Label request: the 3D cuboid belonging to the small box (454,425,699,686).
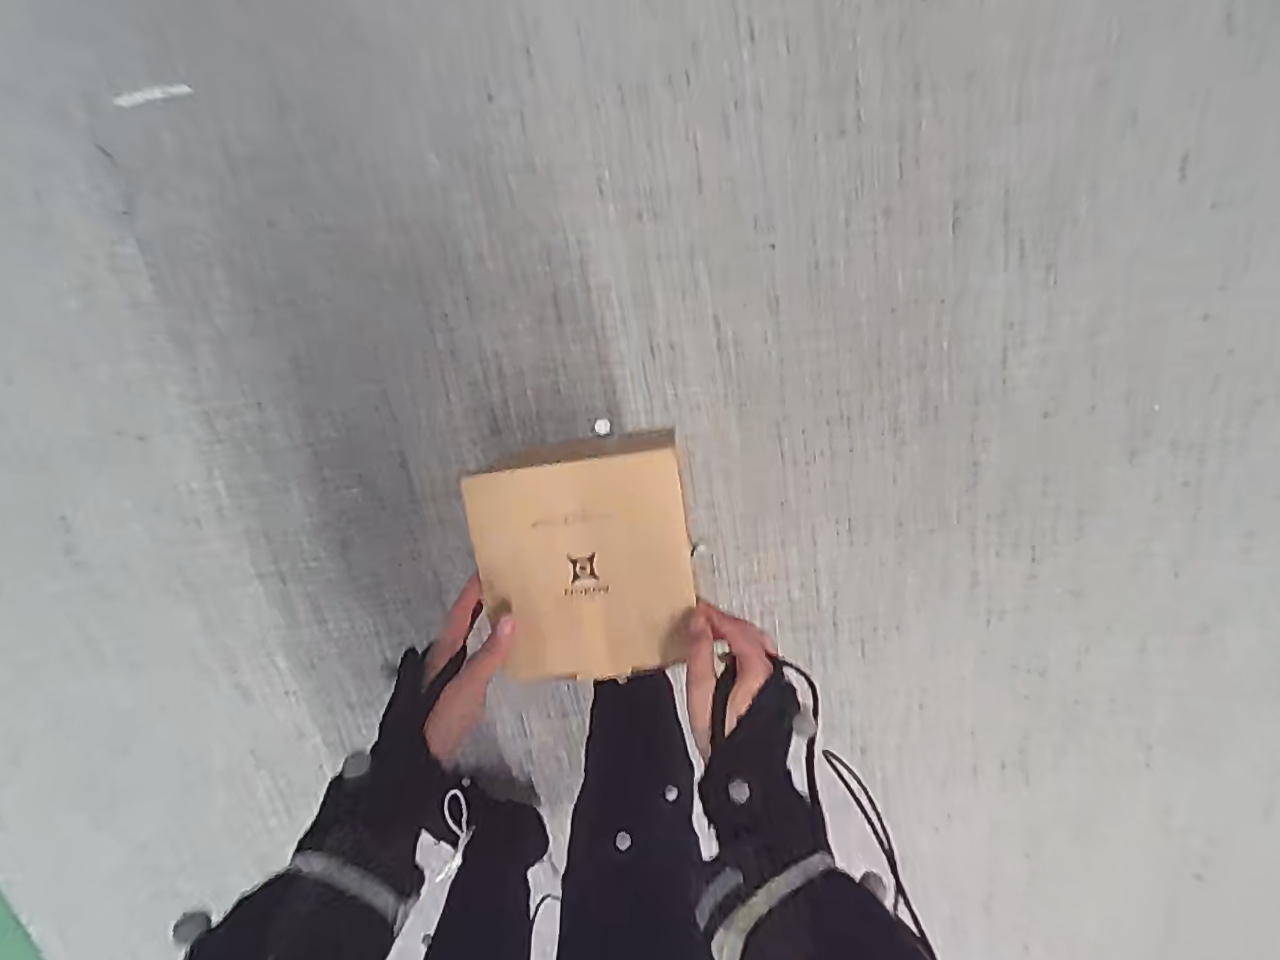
[{"bbox_3d":[-0.040,0.054,0.482,0.168,0.176,0.179,-8,100,4],"label":"small box"}]
